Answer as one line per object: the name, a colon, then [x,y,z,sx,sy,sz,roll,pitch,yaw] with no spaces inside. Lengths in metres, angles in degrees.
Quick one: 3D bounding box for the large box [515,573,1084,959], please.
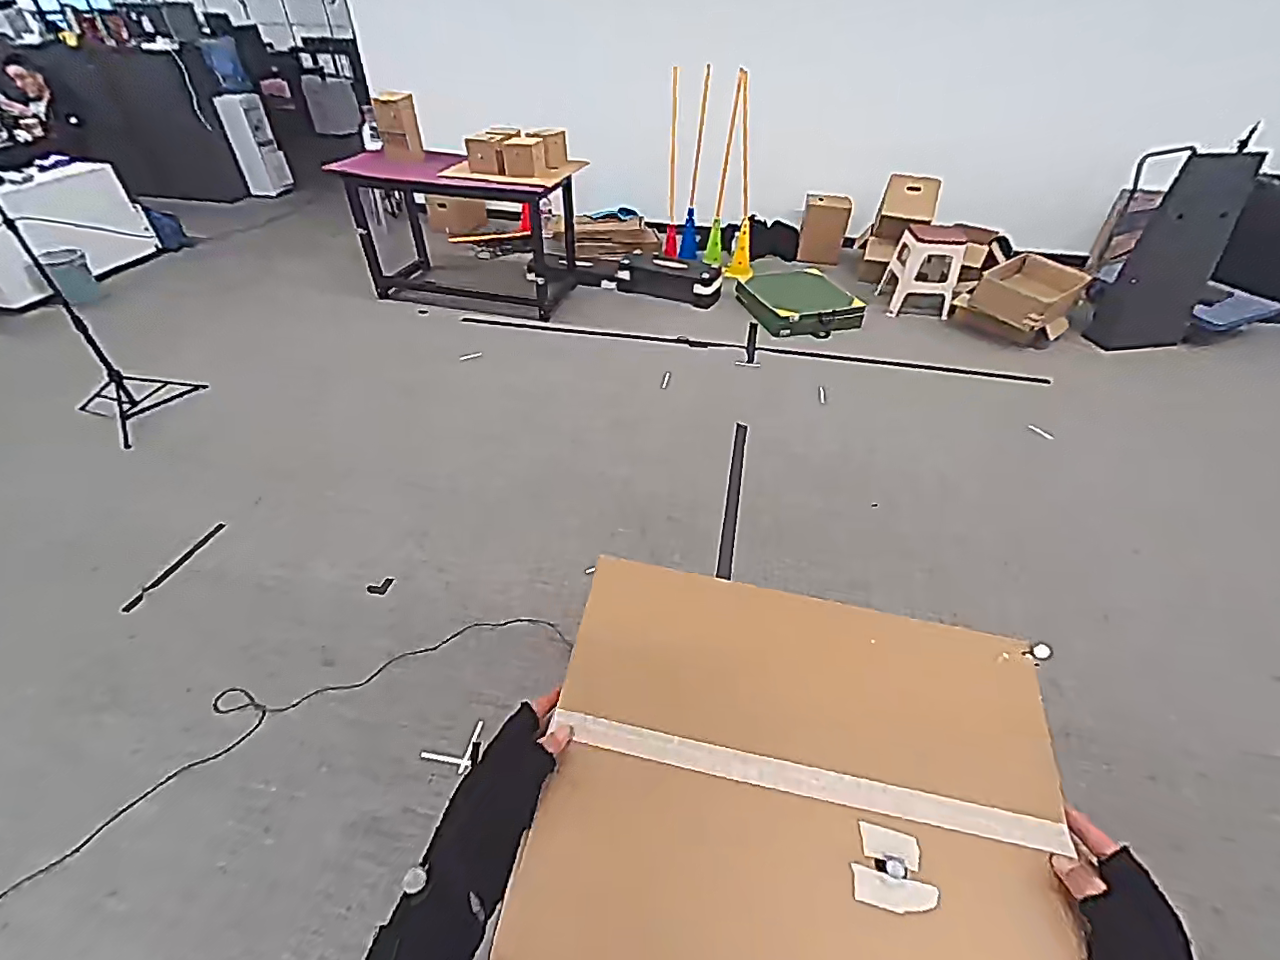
large box: [0.127,0.330,0.561,0.408,0.320,0.320,10,57,5]
